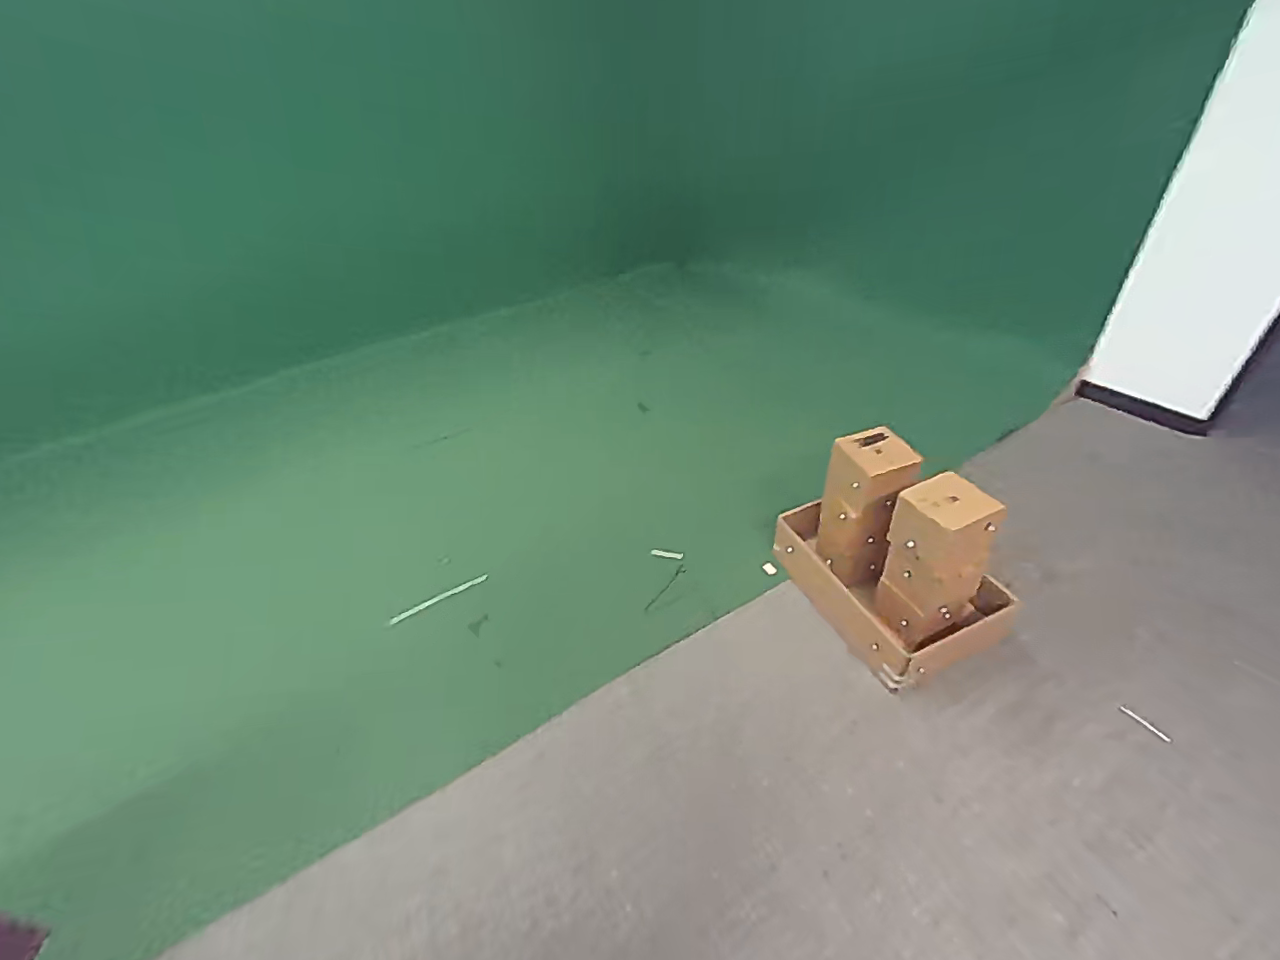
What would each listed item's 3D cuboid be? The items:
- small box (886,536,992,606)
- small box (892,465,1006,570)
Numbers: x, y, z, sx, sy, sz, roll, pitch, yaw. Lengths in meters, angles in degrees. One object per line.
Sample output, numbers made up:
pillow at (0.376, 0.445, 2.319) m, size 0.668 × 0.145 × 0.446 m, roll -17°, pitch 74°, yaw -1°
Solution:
small box at (0.808, 0.220, 1.480) m, size 0.168 × 0.176 × 0.179 m, roll -21°, pitch 40°, yaw -14°
small box at (0.775, 0.096, 1.376) m, size 0.179 × 0.176 × 0.168 m, roll -21°, pitch 41°, yaw -13°
